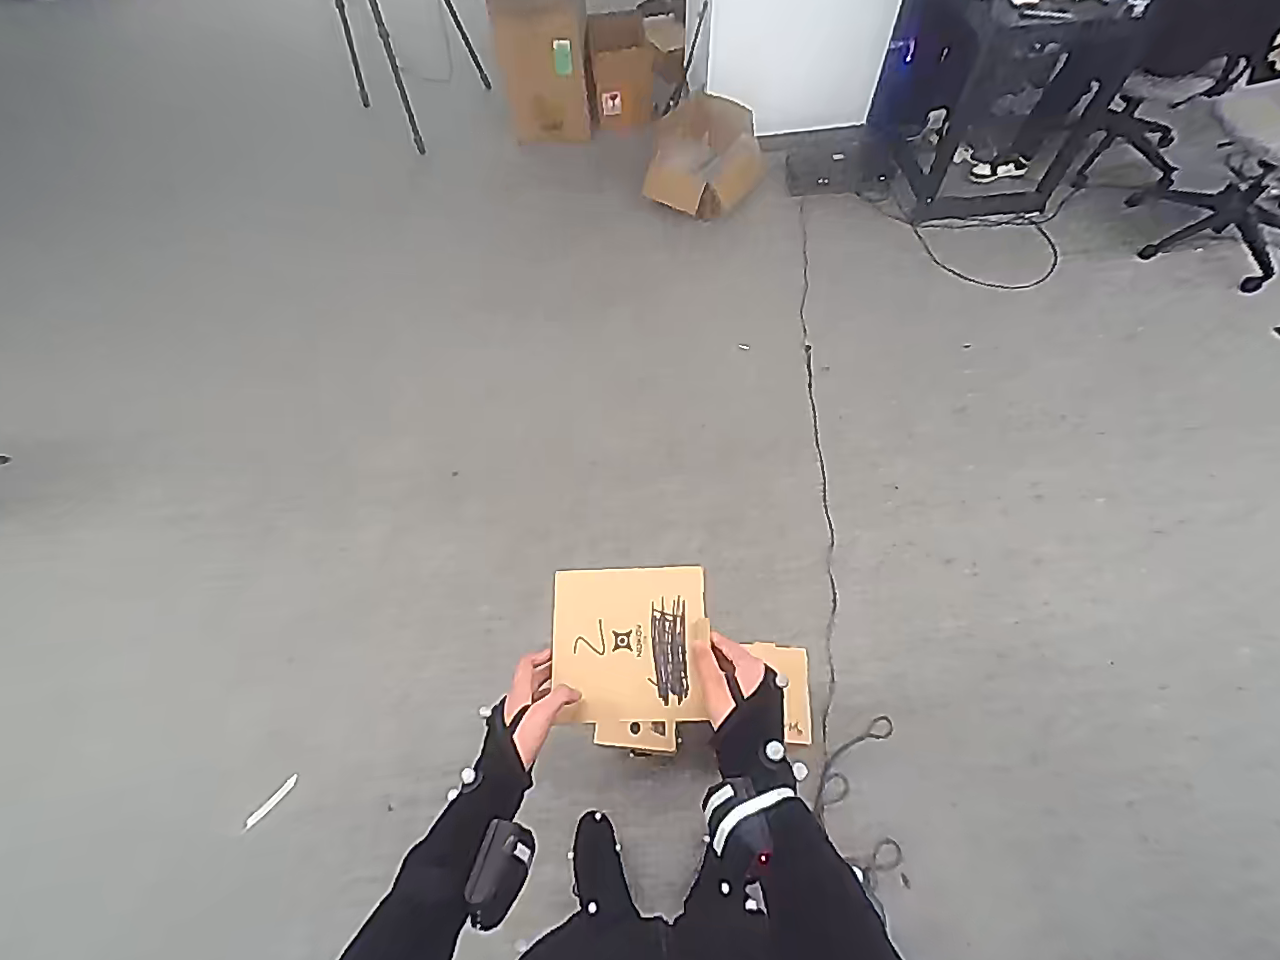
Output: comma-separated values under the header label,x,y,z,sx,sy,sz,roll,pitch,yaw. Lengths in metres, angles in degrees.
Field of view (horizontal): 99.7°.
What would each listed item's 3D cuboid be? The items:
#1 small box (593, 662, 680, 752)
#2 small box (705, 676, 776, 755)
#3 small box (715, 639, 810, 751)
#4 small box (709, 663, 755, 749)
label,x,y,z,sx,sy,sz,roll,pitch,yaw
small box,-0.001,0.526,1.244,0.179,0.176,0.168,3,60,6
small box,0.259,0.598,1.381,0.168,0.176,0.179,-4,60,1
small box,0.241,0.439,1.097,0.168,0.176,0.179,4,59,6
small box,0.252,0.519,1.240,0.179,0.176,0.168,-3,60,2
